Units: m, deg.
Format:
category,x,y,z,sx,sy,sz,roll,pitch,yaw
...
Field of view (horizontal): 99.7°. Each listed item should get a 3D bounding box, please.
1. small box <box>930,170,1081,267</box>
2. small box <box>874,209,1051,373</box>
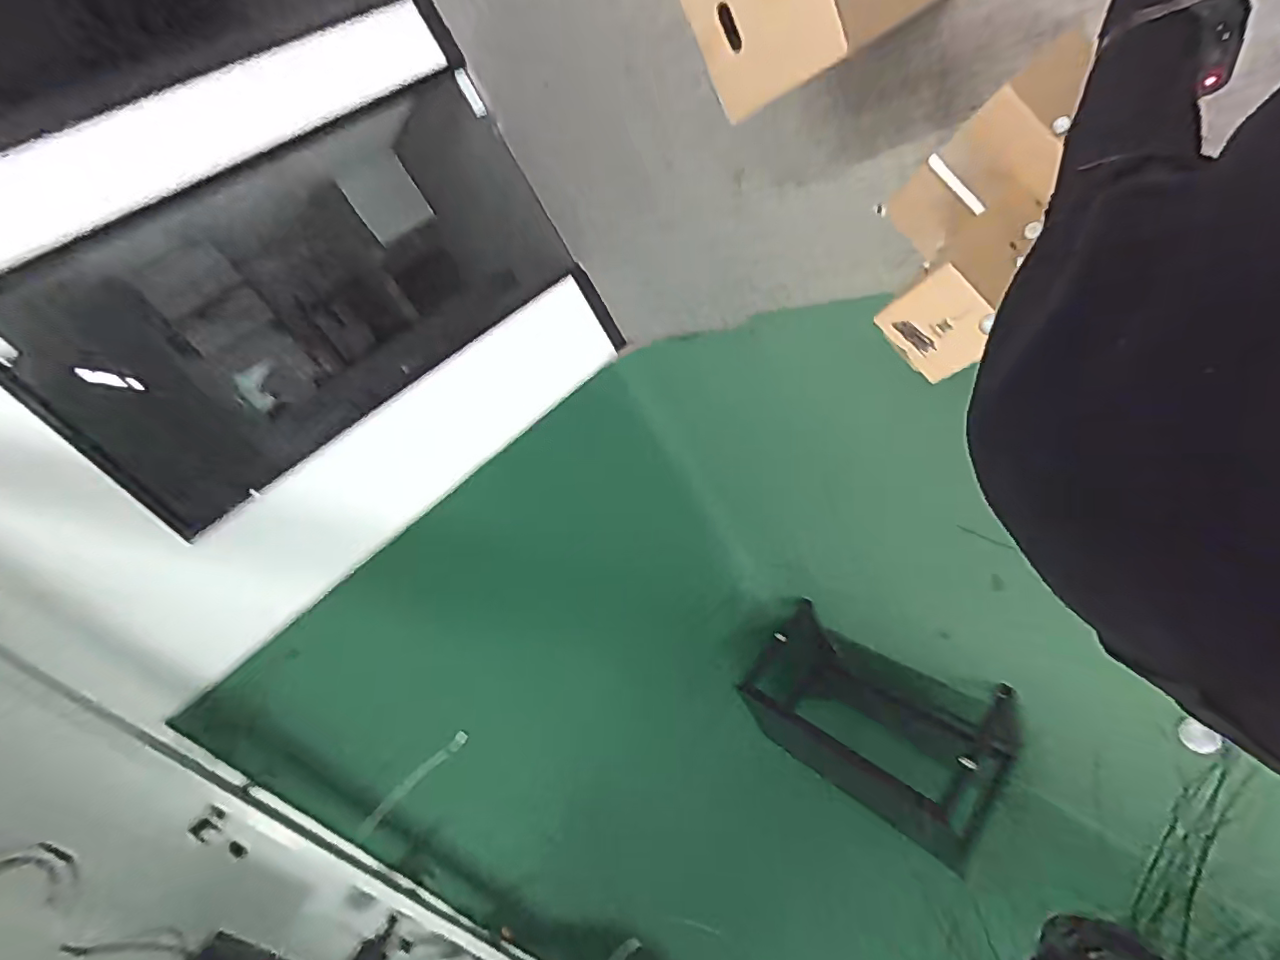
category,x,y,z,sx,sy,sz,roll,pitch,yaw
small box,0.666,-0.431,1.017,0.168,0.176,0.179,44,159,3
small box,0.561,-0.326,0.947,0.168,0.176,0.179,45,158,-2
